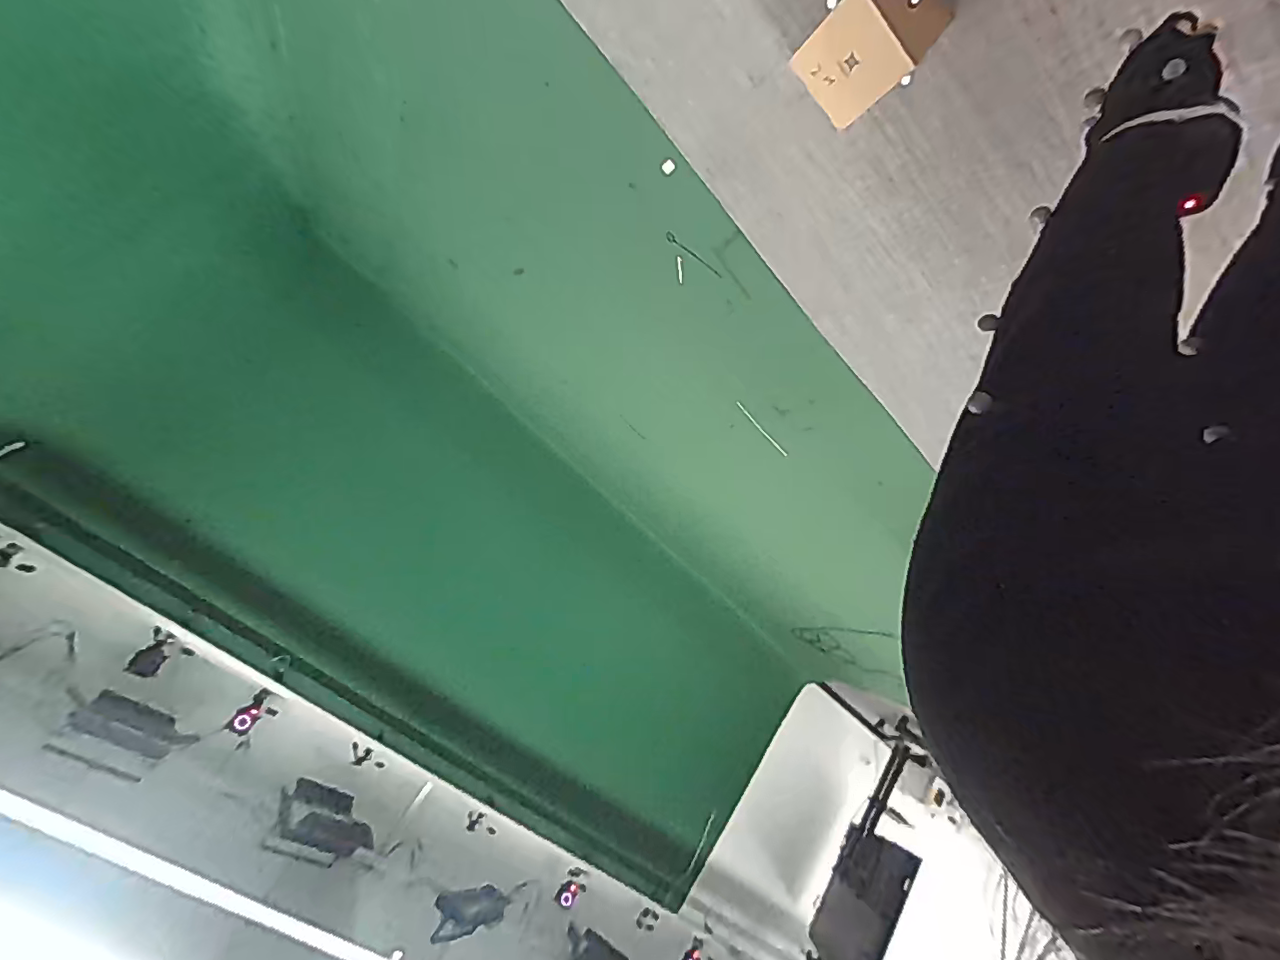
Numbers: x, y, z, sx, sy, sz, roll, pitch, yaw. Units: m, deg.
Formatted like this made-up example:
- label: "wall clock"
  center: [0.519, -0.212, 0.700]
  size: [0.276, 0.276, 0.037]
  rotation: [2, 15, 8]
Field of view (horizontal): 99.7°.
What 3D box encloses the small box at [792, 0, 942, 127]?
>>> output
- label: "small box"
  center: [0.426, -0.820, 1.002]
  size: [0.168, 0.176, 0.179]
  rotation: [43, 161, -17]
